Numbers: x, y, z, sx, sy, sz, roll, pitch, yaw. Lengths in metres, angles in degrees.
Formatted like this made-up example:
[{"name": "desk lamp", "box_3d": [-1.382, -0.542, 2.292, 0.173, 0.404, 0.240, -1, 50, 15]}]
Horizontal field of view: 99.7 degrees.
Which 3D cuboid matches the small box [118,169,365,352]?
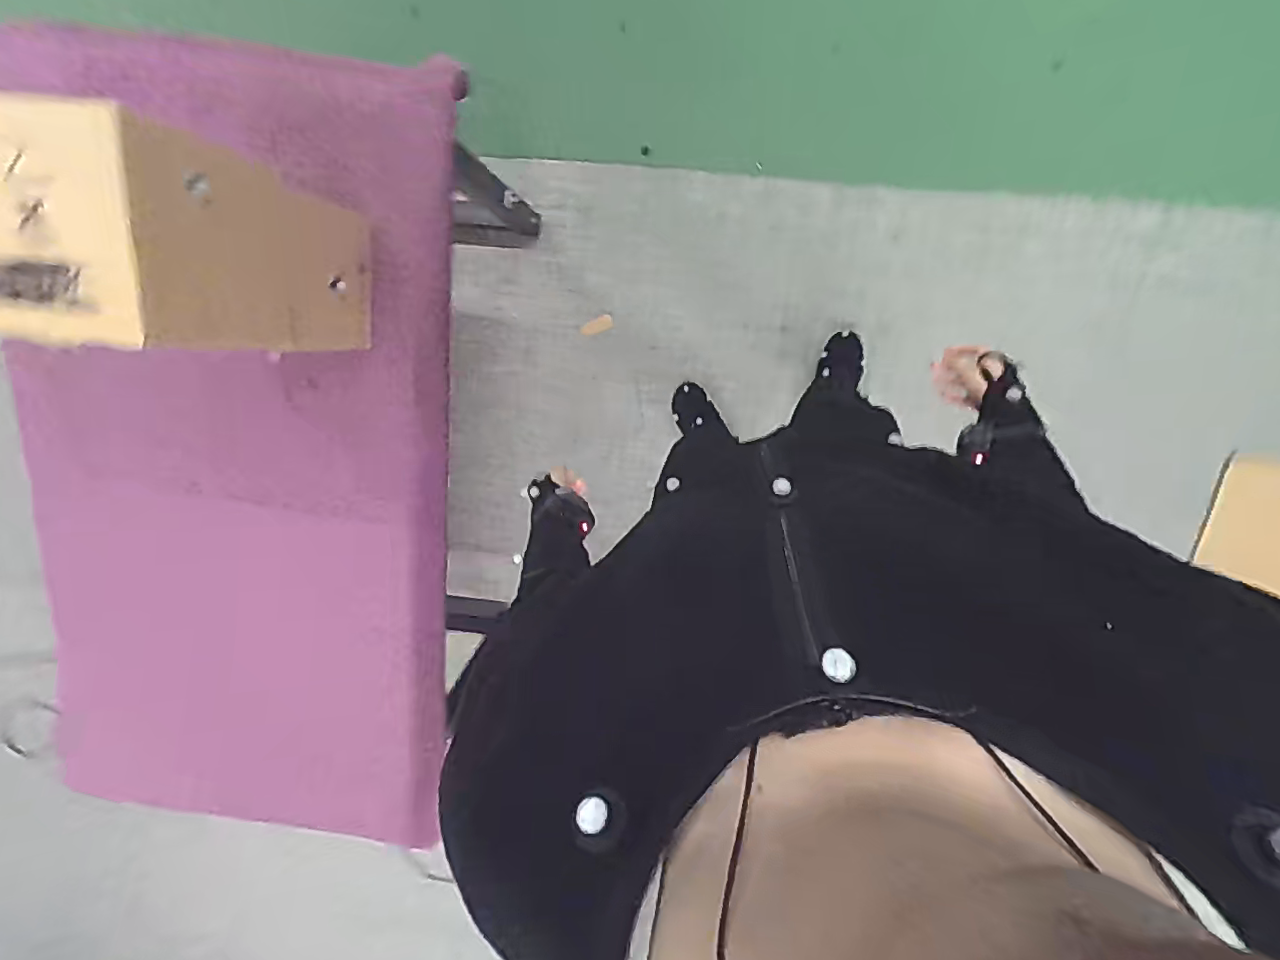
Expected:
[{"name": "small box", "box_3d": [-0.455, -0.251, 0.651, 0.179, 0.176, 0.168, 8, 105, 3]}]
